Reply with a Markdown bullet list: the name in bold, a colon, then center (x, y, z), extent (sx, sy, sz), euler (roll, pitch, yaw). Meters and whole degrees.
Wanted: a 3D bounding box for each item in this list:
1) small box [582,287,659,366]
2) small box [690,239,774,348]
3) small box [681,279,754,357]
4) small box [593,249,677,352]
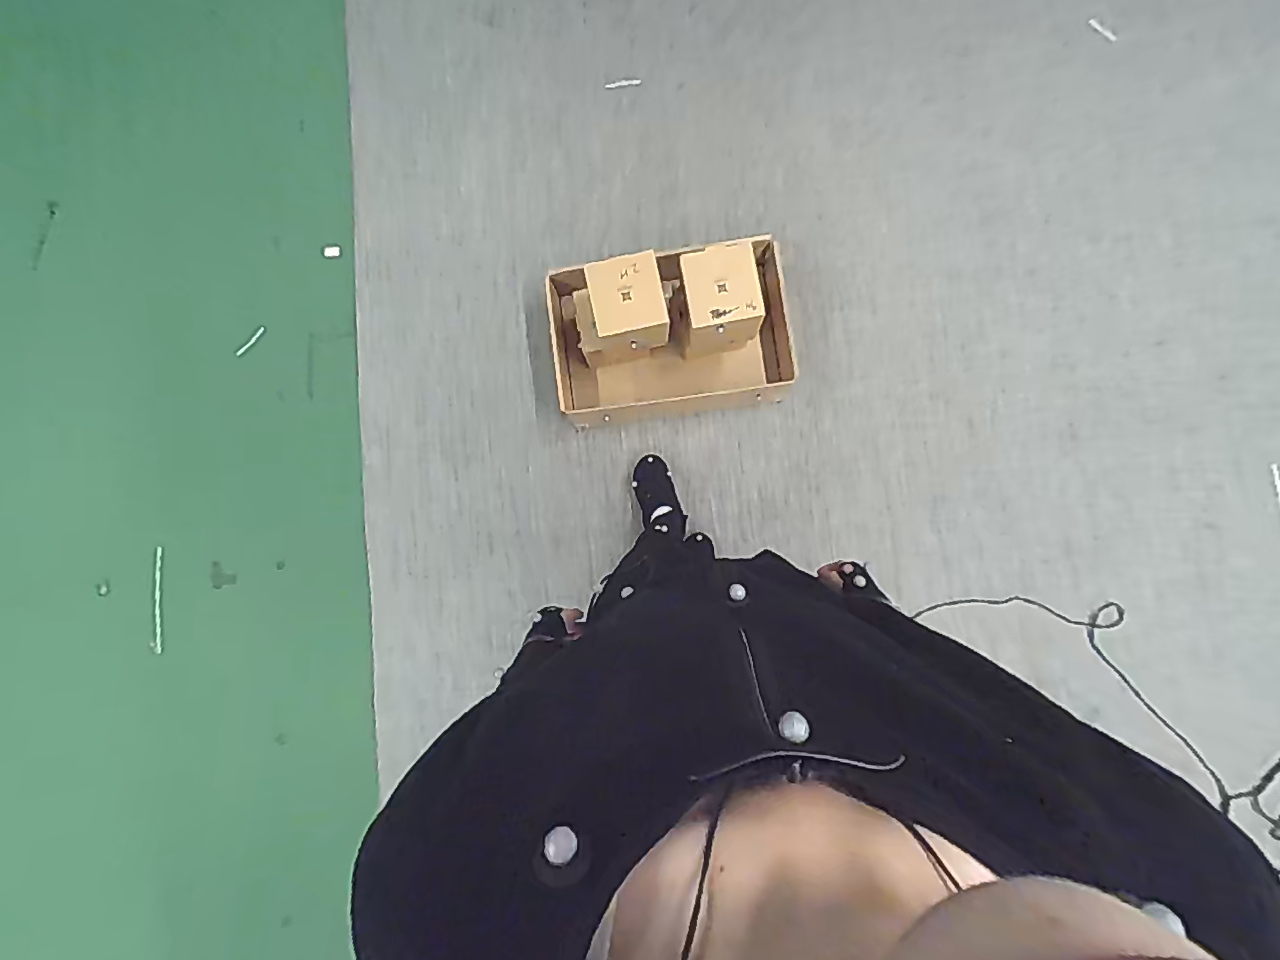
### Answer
- **small box**: center (-0.047, -0.419, 1.464), extent (0.179, 0.176, 0.168), euler (-10, 86, 2)
- **small box**: center (0.211, -0.434, 1.278), extent (0.168, 0.176, 0.179), euler (-10, 84, 6)
- **small box**: center (0.215, -0.443, 1.444), extent (0.179, 0.176, 0.168), euler (-14, 85, 4)
- **small box**: center (-0.007, -0.419, 1.298), extent (0.168, 0.176, 0.179), euler (-12, 86, 1)
